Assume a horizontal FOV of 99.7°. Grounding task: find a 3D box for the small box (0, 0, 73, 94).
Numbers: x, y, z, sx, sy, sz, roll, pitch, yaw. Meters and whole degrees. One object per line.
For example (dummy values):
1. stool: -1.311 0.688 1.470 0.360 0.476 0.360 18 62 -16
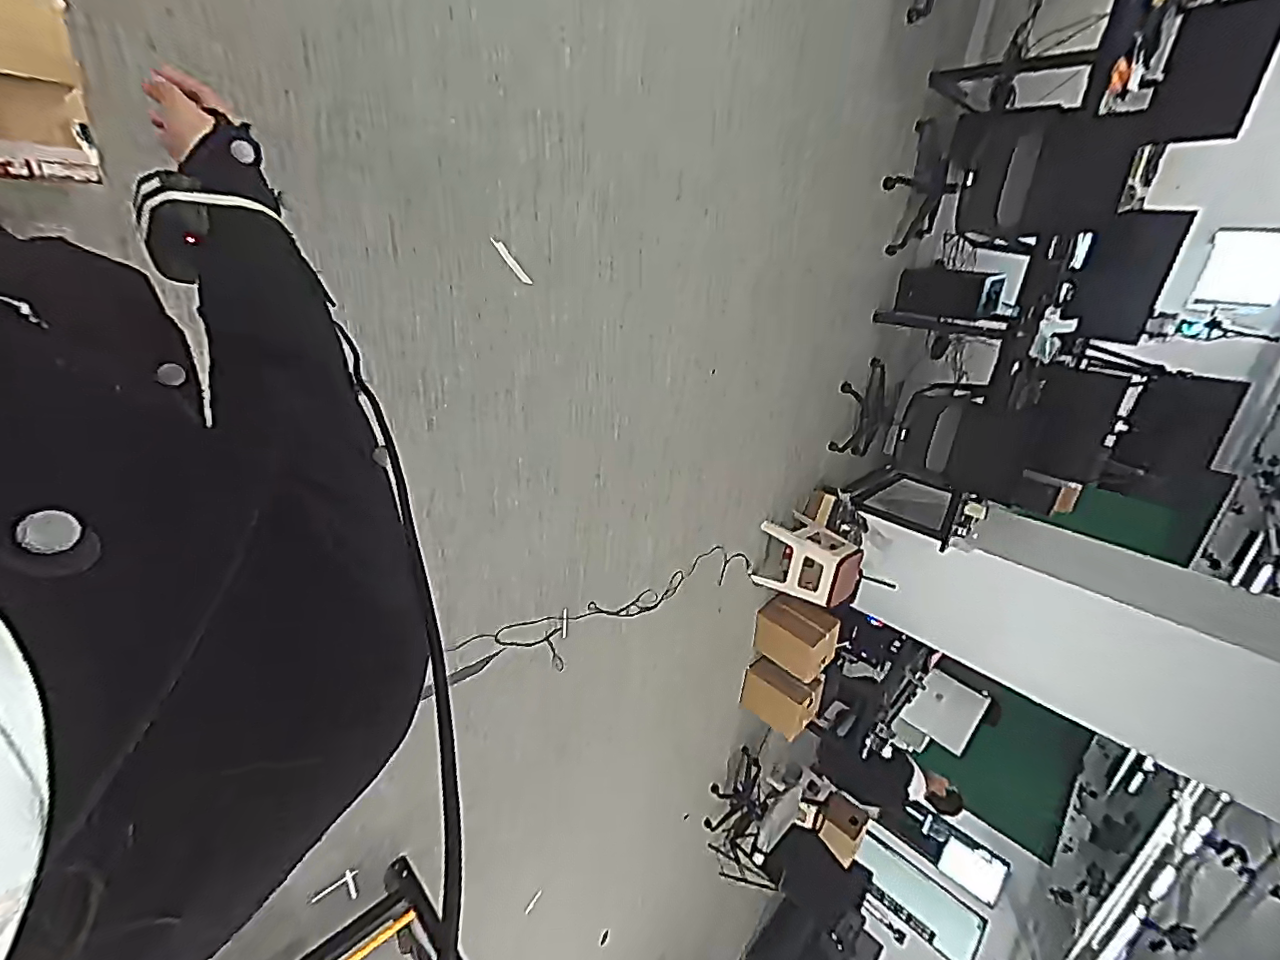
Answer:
1. small box: -0.587 -0.414 0.413 0.179 0.176 0.168 -20 126 -44
